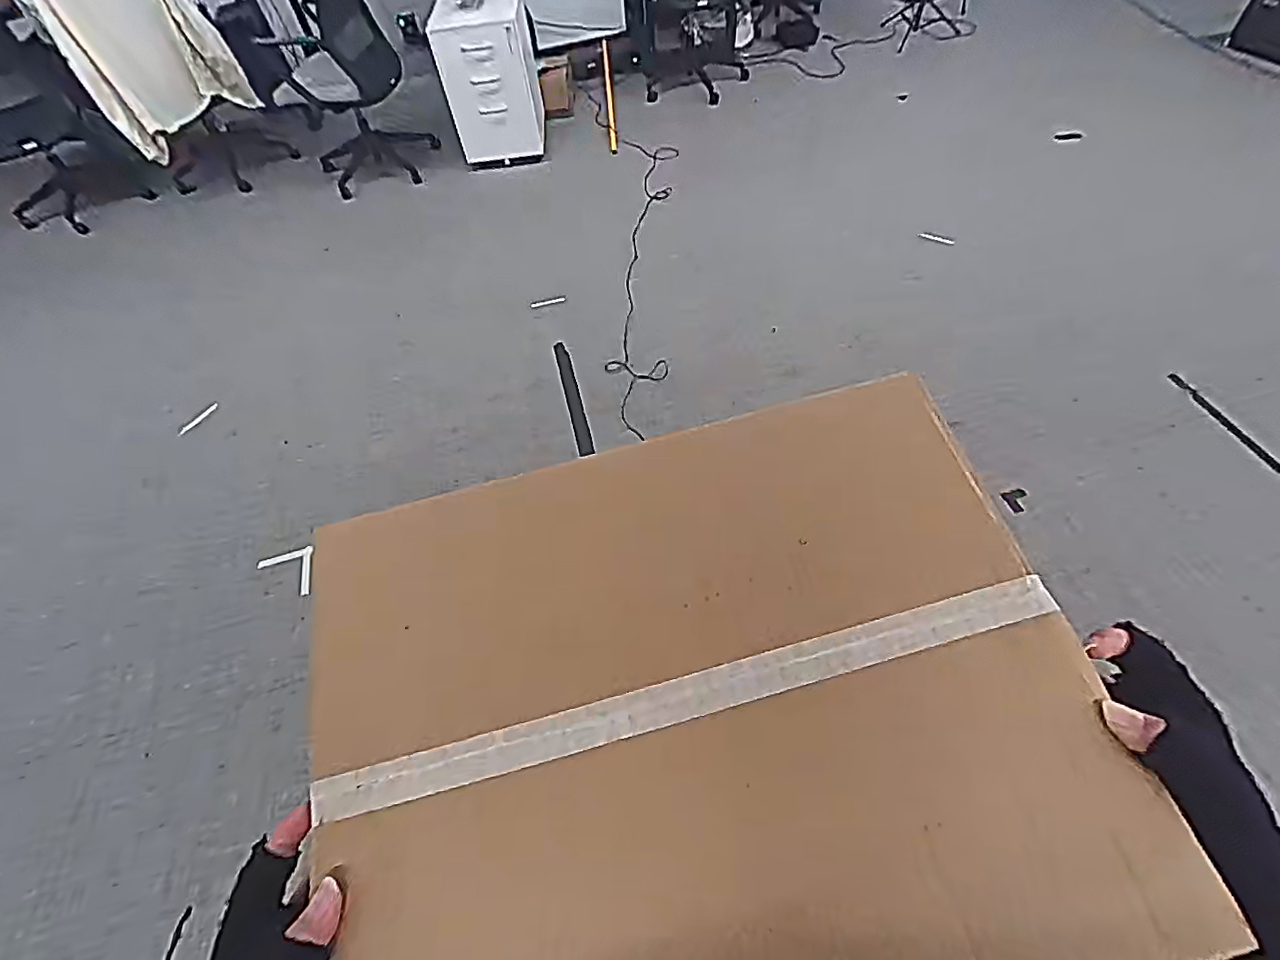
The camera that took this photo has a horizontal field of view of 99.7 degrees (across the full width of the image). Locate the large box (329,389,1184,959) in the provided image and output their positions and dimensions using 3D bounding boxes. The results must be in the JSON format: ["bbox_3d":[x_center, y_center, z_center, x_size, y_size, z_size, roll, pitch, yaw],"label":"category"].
[{"bbox_3d":[0.037,0.183,0.436,0.408,0.320,0.320,-15,64,-2],"label":"large box"}]
